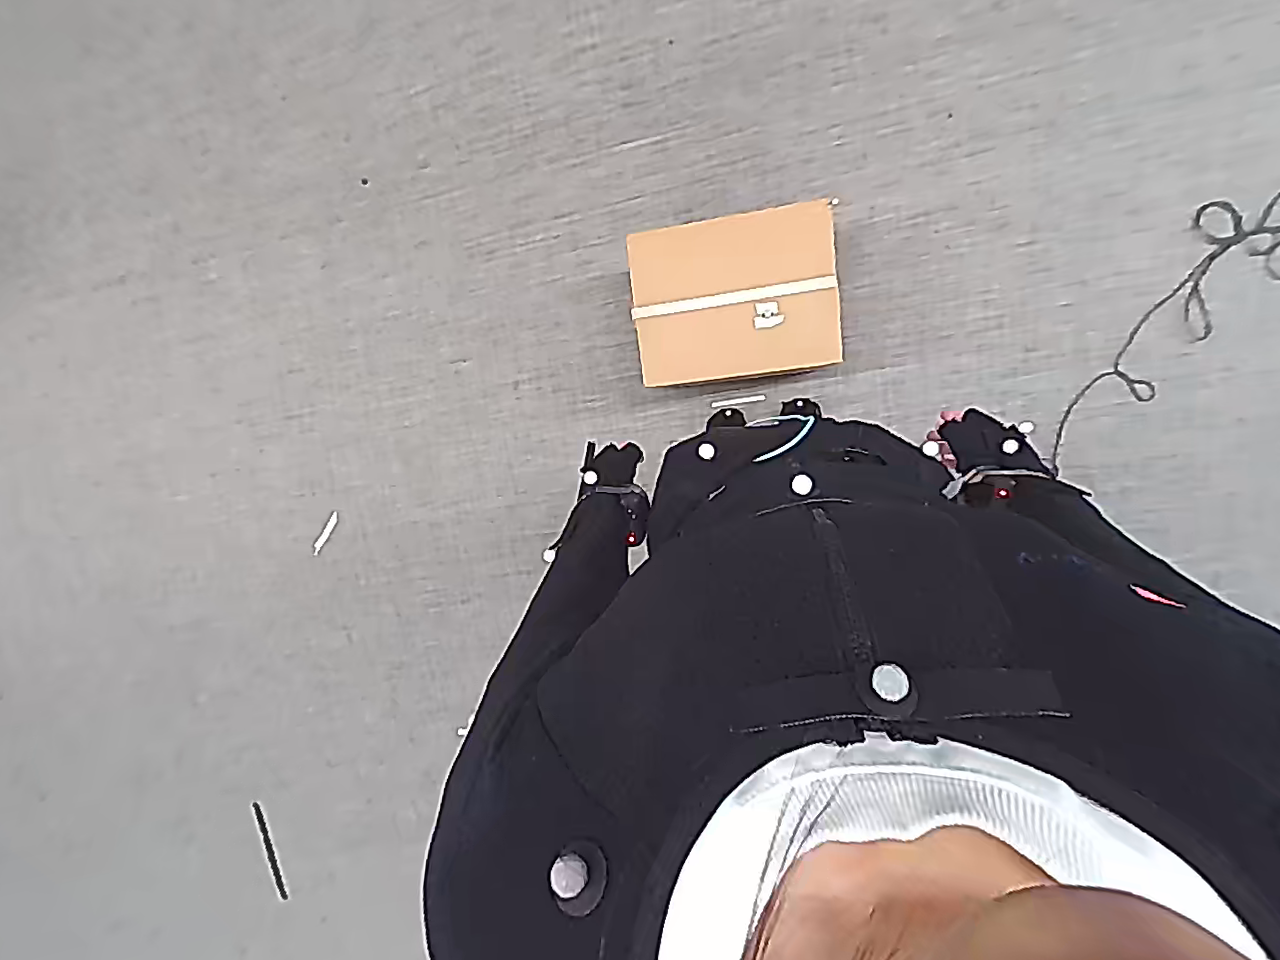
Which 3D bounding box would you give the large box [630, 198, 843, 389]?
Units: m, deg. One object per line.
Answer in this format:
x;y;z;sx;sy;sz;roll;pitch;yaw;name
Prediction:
0.214;-0.392;1.236;0.408;0.320;0.320;-6;98;10;large box
